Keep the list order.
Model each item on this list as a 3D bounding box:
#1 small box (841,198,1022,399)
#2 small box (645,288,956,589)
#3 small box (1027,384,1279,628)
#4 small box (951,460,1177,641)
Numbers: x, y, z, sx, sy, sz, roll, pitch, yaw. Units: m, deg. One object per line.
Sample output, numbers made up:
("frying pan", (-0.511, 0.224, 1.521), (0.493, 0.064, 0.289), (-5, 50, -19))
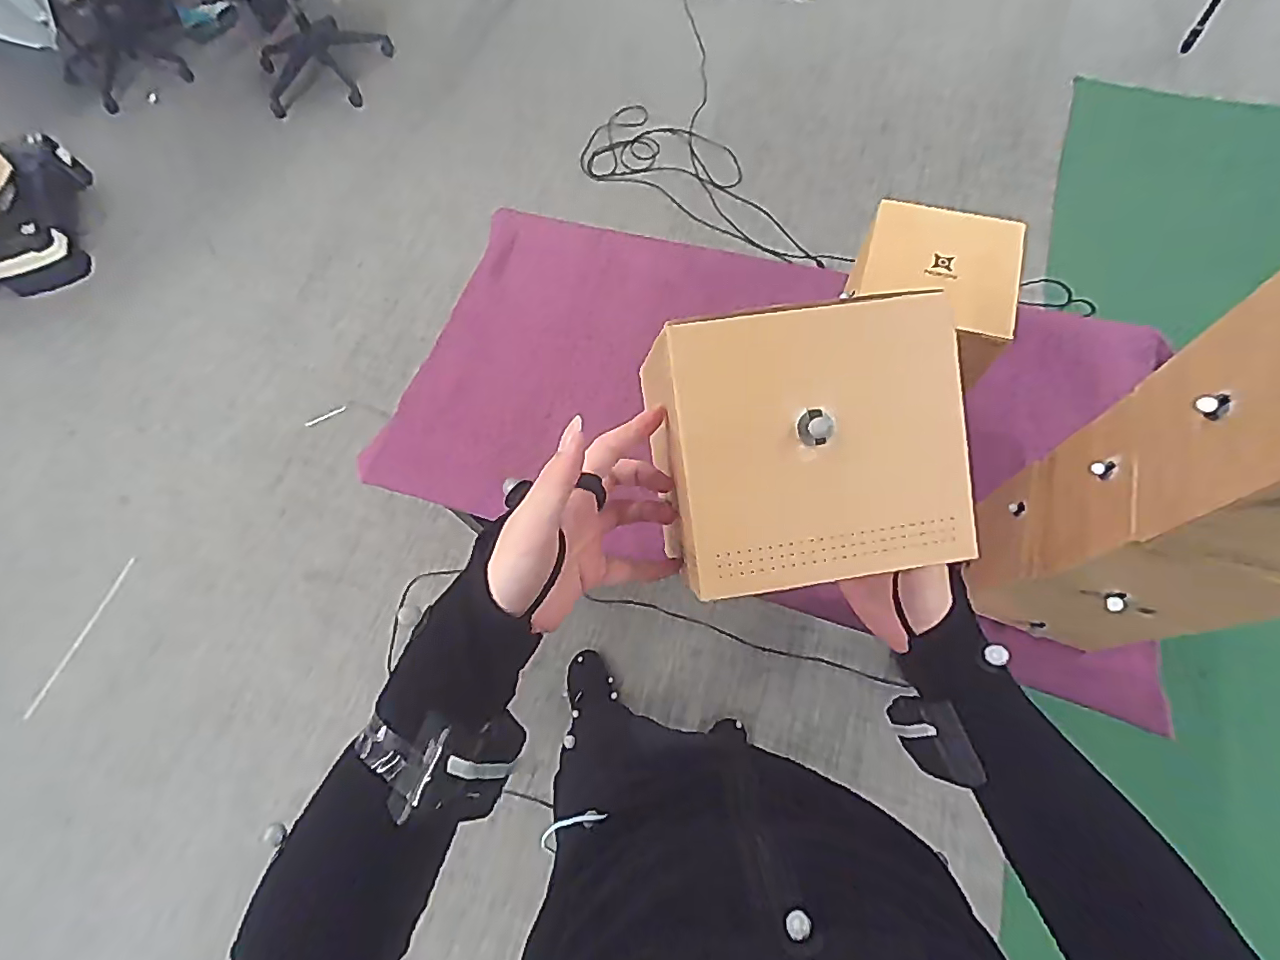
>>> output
("small box", (0.344, -0.213, 0.687), (0.168, 0.176, 0.179), (17, 70, 10))
("small box", (0.103, -0.029, 0.401), (0.179, 0.168, 0.176), (-7, 94, -5))
("small box", (0.545, 0.035, 0.567), (0.168, 0.176, 0.179), (19, 69, 13))
("small box", (0.552, 0.102, 0.716), (0.179, 0.176, 0.168), (19, 69, 12))
